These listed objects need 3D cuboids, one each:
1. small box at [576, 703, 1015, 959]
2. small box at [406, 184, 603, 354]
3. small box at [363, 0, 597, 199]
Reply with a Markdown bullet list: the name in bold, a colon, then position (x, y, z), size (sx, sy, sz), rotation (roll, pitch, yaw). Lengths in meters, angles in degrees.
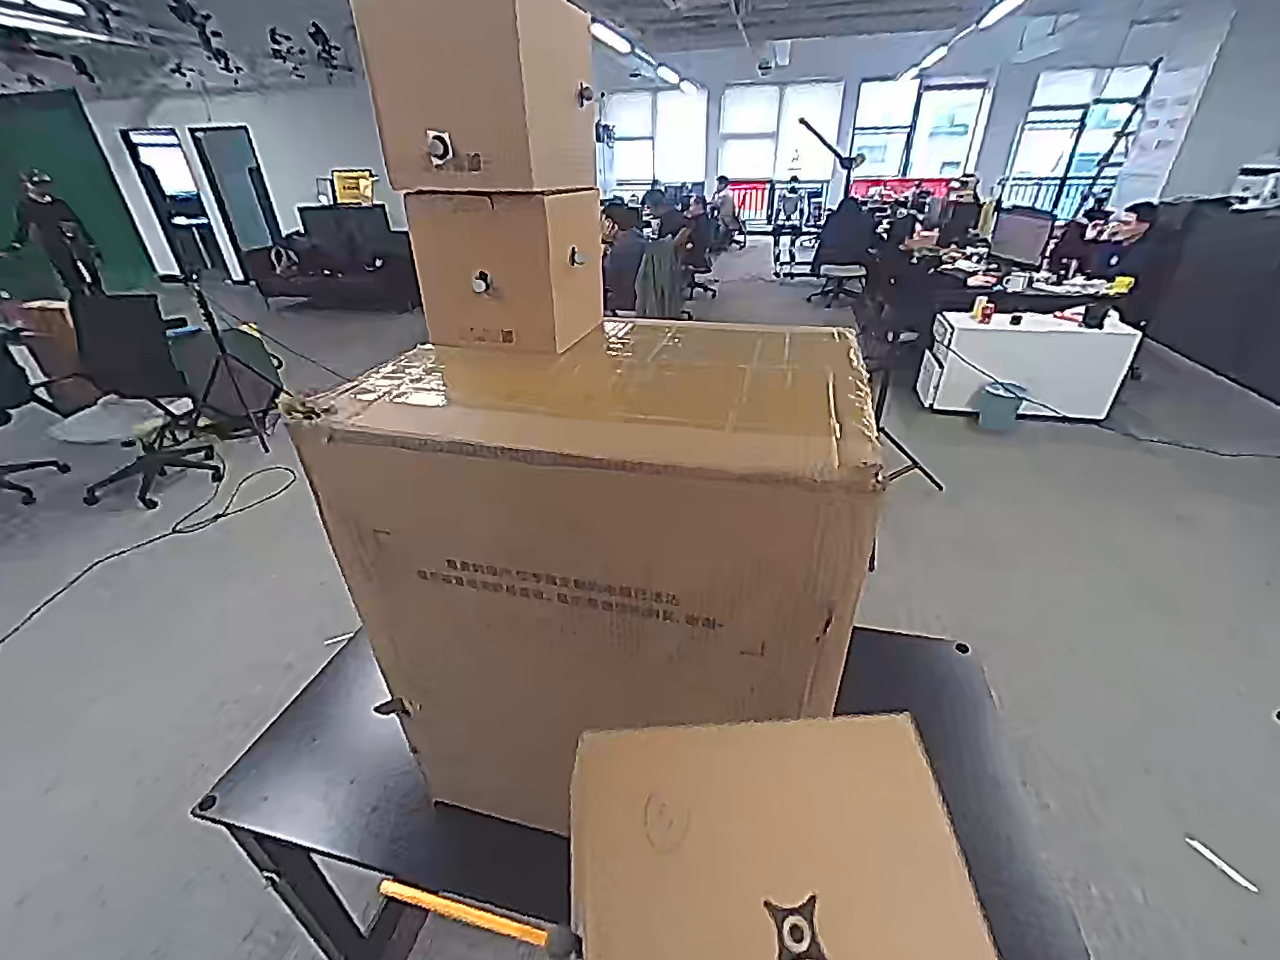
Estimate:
- **small box**: position (0.054, 0.225, 0.270), size (0.168, 0.176, 0.179), rotation (1, 56, -8)
- **small box**: position (-0.146, -0.260, 0.659), size (0.168, 0.176, 0.179), rotation (8, 32, 12)
- **small box**: position (-0.148, -0.394, 0.563), size (0.168, 0.176, 0.179), rotation (7, 31, 14)
